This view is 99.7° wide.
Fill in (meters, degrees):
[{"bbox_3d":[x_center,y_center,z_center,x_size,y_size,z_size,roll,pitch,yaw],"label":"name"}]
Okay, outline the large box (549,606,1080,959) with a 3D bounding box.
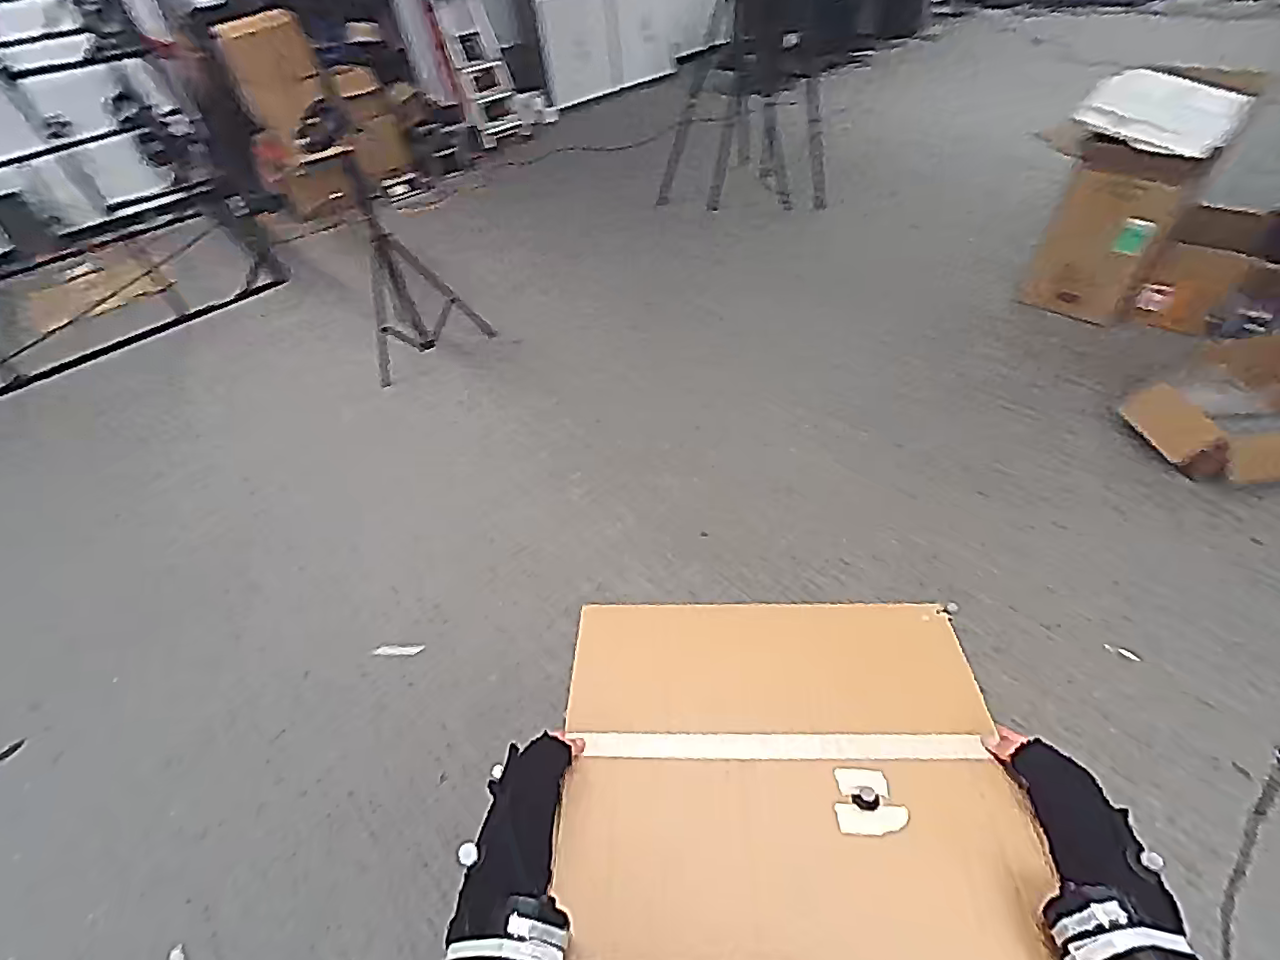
[{"bbox_3d":[0.133,0.363,0.610,0.408,0.320,0.320,-2,43,3],"label":"large box"}]
